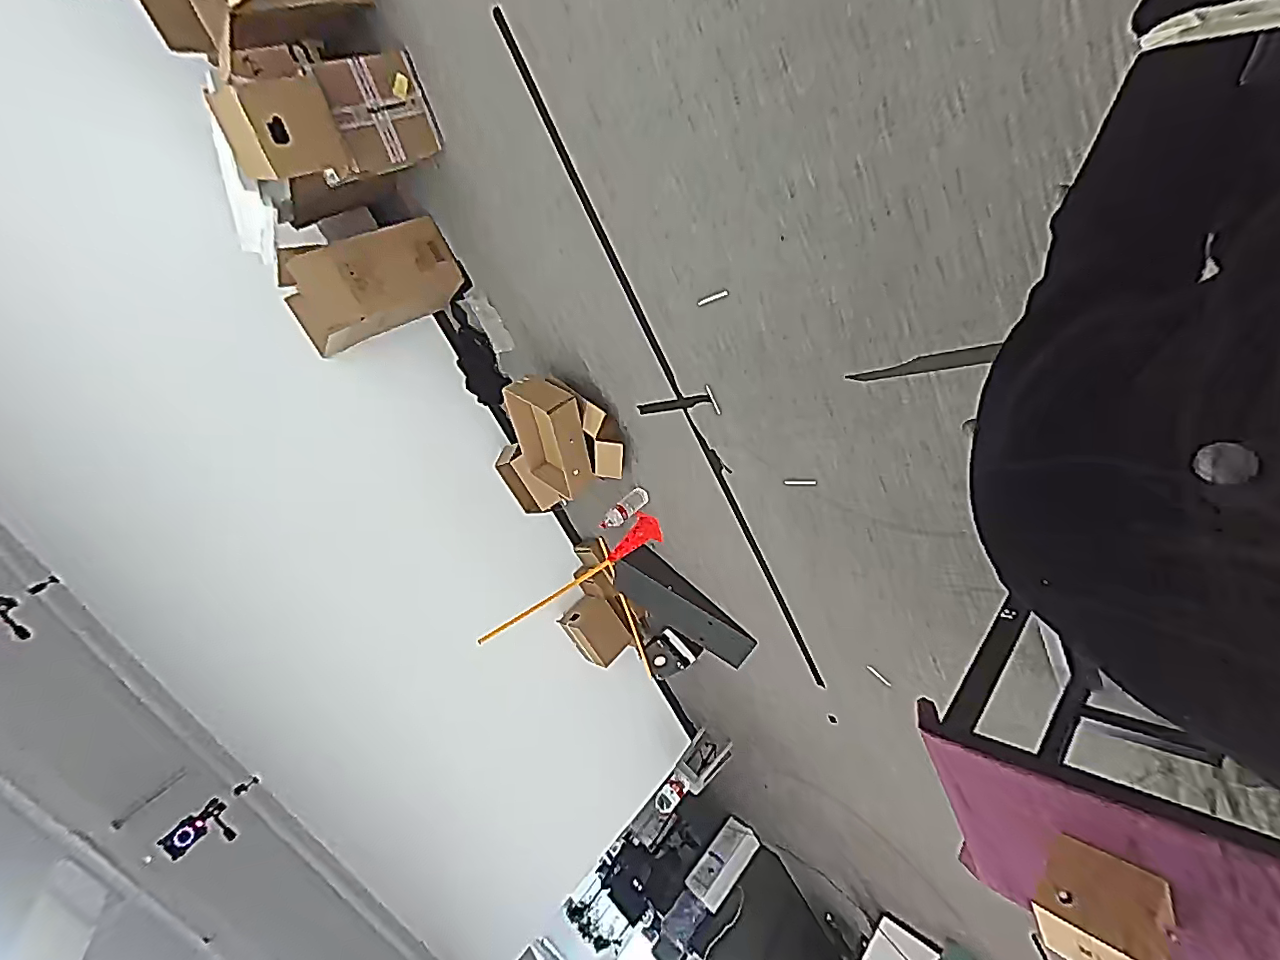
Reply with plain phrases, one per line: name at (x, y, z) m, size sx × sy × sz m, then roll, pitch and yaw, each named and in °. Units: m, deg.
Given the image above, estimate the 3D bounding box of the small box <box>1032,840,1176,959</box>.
small box at (0.916, 0.860, 1.067) m, size 0.179 × 0.176 × 0.168 m, roll 2°, pitch 126°, yaw 53°
